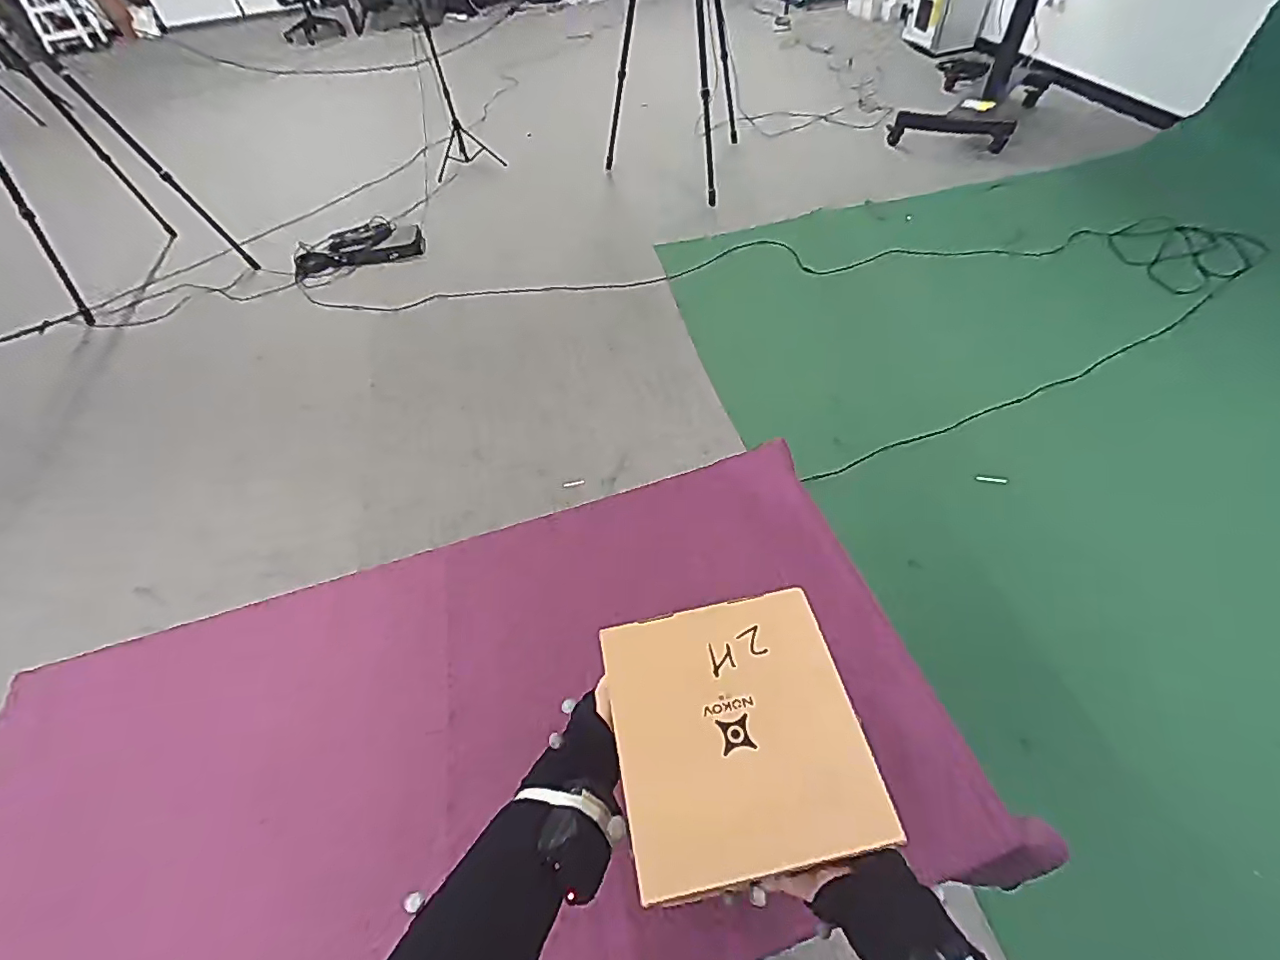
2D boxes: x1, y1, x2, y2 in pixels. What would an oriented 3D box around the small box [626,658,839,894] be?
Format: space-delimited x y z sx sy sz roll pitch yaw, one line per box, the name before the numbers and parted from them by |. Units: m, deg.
small box | 0.083 0.315 0.572 0.168 0.176 0.179 -11 52 -2
